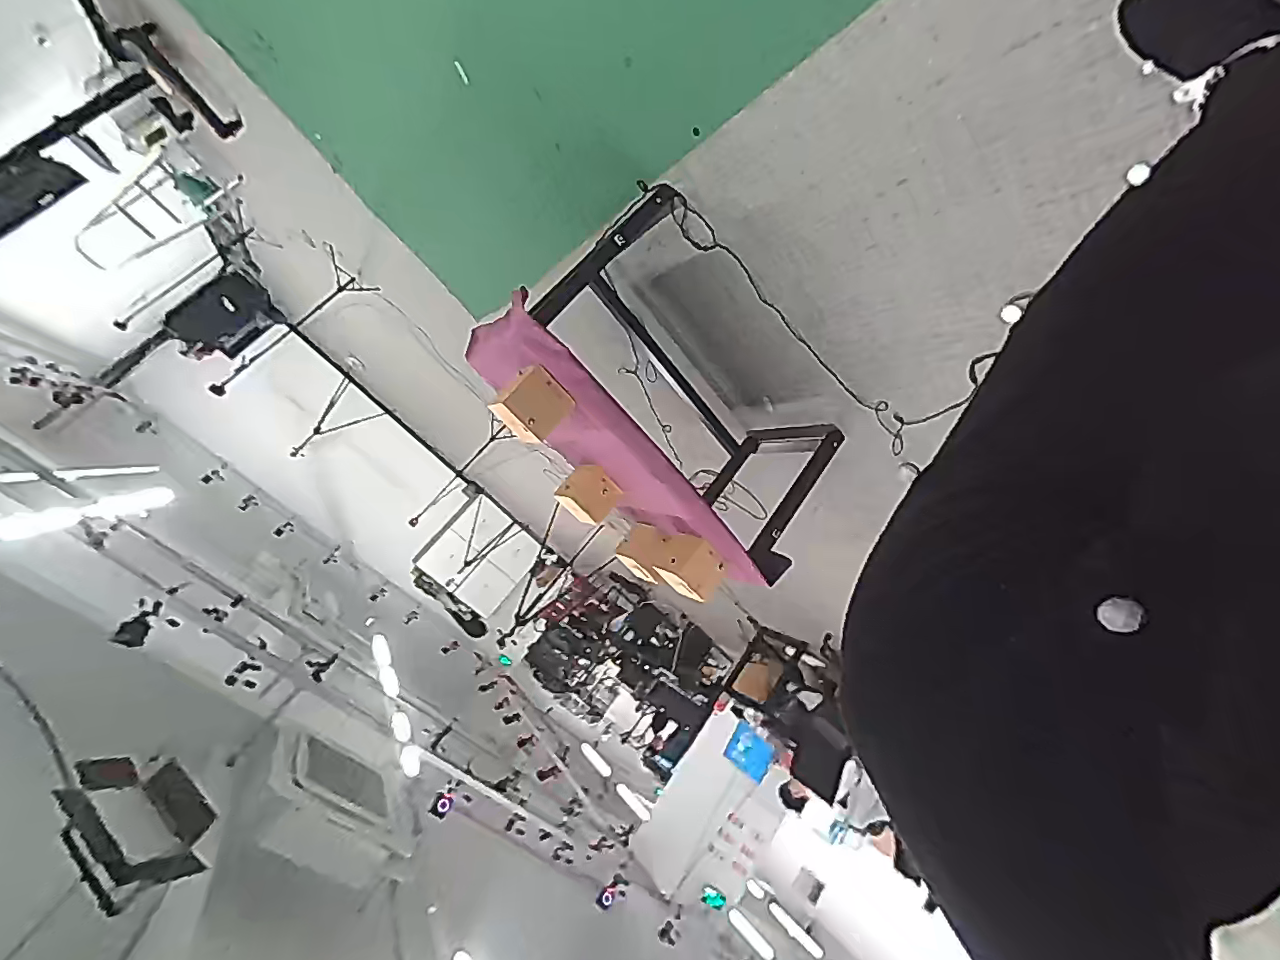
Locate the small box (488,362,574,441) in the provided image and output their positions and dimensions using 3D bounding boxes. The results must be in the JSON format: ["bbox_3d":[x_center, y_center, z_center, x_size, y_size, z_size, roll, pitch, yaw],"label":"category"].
[{"bbox_3d":[-0.327,-0.238,1.641,0.168,0.176,0.179,46,163,-25],"label":"small box"}]

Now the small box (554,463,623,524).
[{"bbox_3d":[-0.197,0.048,2.089,0.168,0.176,0.179,47,159,-23],"label":"small box"}]

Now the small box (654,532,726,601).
[{"bbox_3d":[0.189,0.308,1.961,0.168,0.176,0.179,47,161,-23],"label":"small box"}]
